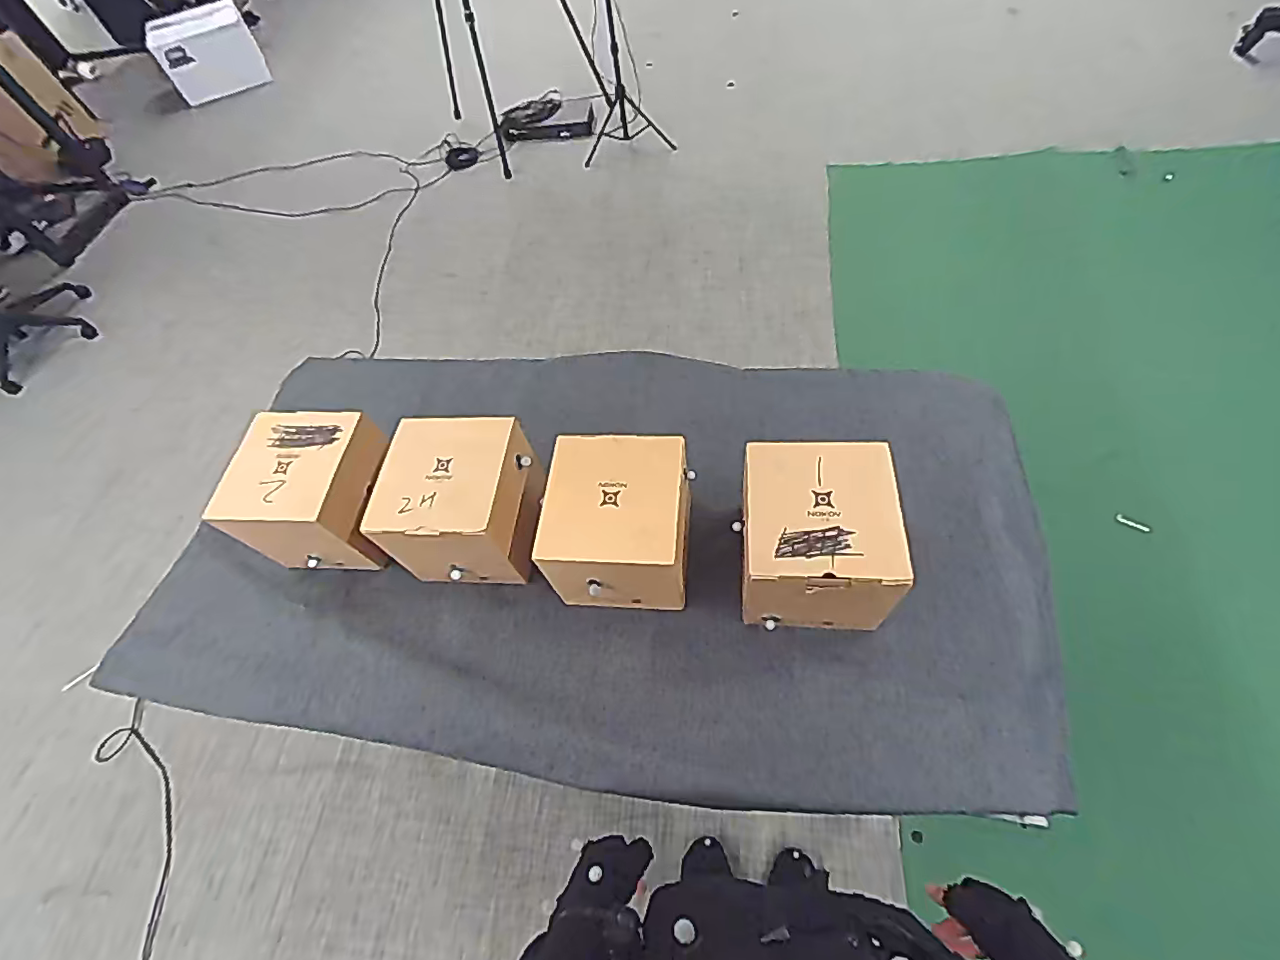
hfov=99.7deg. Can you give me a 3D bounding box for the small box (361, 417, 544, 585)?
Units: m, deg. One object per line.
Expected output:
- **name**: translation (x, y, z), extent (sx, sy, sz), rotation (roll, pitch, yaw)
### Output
- **small box**: translation (-0.241, 0.031, 0.752), extent (0.168, 0.176, 0.179), rotation (0, 59, 9)

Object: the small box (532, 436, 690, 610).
- **small box**: translation (-0.023, 0.060, 0.704), extent (0.168, 0.176, 0.179), rotation (1, 58, 9)
